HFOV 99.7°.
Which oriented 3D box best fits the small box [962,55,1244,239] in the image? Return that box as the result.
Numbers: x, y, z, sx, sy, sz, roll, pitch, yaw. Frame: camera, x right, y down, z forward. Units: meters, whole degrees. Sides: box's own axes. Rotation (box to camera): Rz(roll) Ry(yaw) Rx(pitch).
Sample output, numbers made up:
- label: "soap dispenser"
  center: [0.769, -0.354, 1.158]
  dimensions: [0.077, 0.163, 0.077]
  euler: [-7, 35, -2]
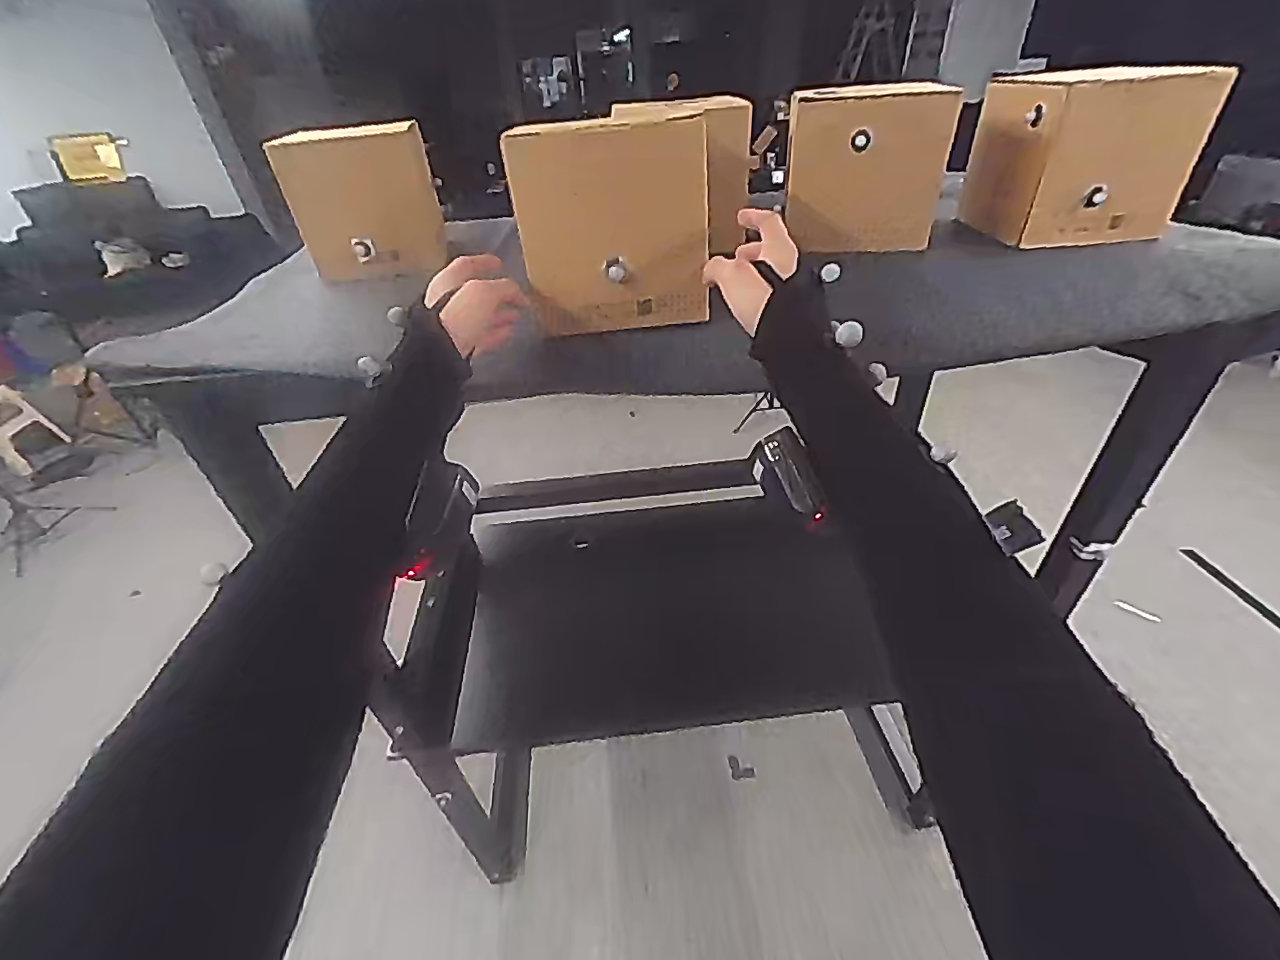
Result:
- label: "small box"
  center: [0.529, -0.402, 0.657]
  dimensions: [0.168, 0.176, 0.179]
  euler: [-3, 37, 3]

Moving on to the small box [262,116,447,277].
- label: "small box"
  center: [-0.377, -0.397, 0.753]
  dimensions: [0.168, 0.176, 0.179]
  euler: [-12, 38, -9]

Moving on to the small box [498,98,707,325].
- label: "small box"
  center: [-0.026, -0.265, 0.533]
  dimensions: [0.168, 0.176, 0.179]
  euler: [-6, 35, 1]
